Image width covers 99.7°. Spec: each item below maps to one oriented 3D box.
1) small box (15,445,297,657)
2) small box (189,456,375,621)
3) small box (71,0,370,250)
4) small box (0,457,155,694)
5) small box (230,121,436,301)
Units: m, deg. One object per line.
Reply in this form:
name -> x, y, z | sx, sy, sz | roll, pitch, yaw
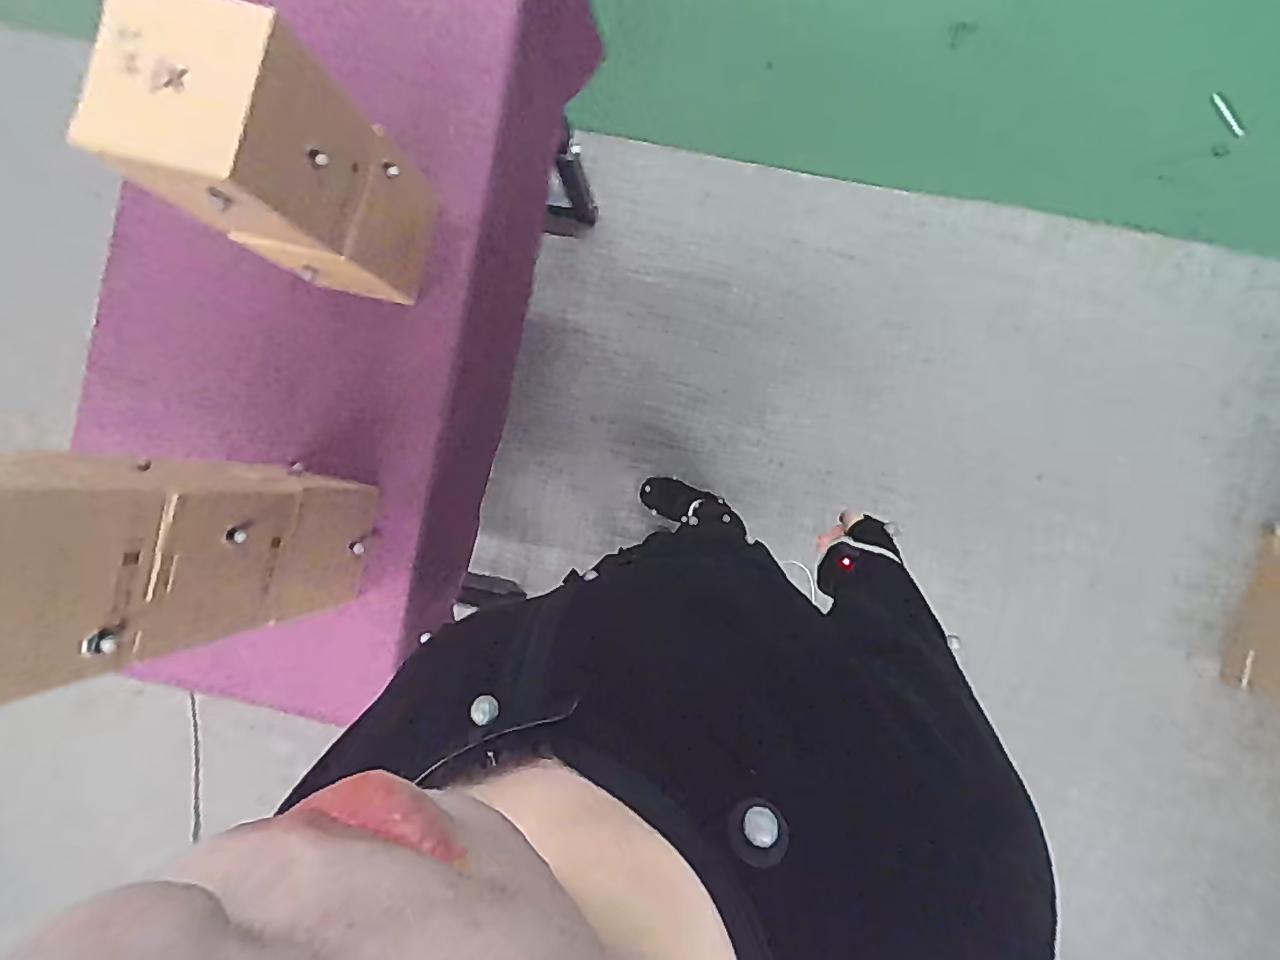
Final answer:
small box -> -0.519, 0.067, 0.585 | 0.179, 0.176, 0.168 | 14, 89, 7
small box -> -0.498, 0.074, 0.747 | 0.168, 0.176, 0.179 | 12, 89, 6
small box -> -0.432, -0.375, 0.588 | 0.179, 0.176, 0.168 | 16, 89, 6
small box -> -0.542, 0.067, 0.422 | 0.179, 0.176, 0.168 | 11, 89, 7
small box -> -0.410, -0.370, 0.751 | 0.168, 0.176, 0.179 | 13, 89, 6
